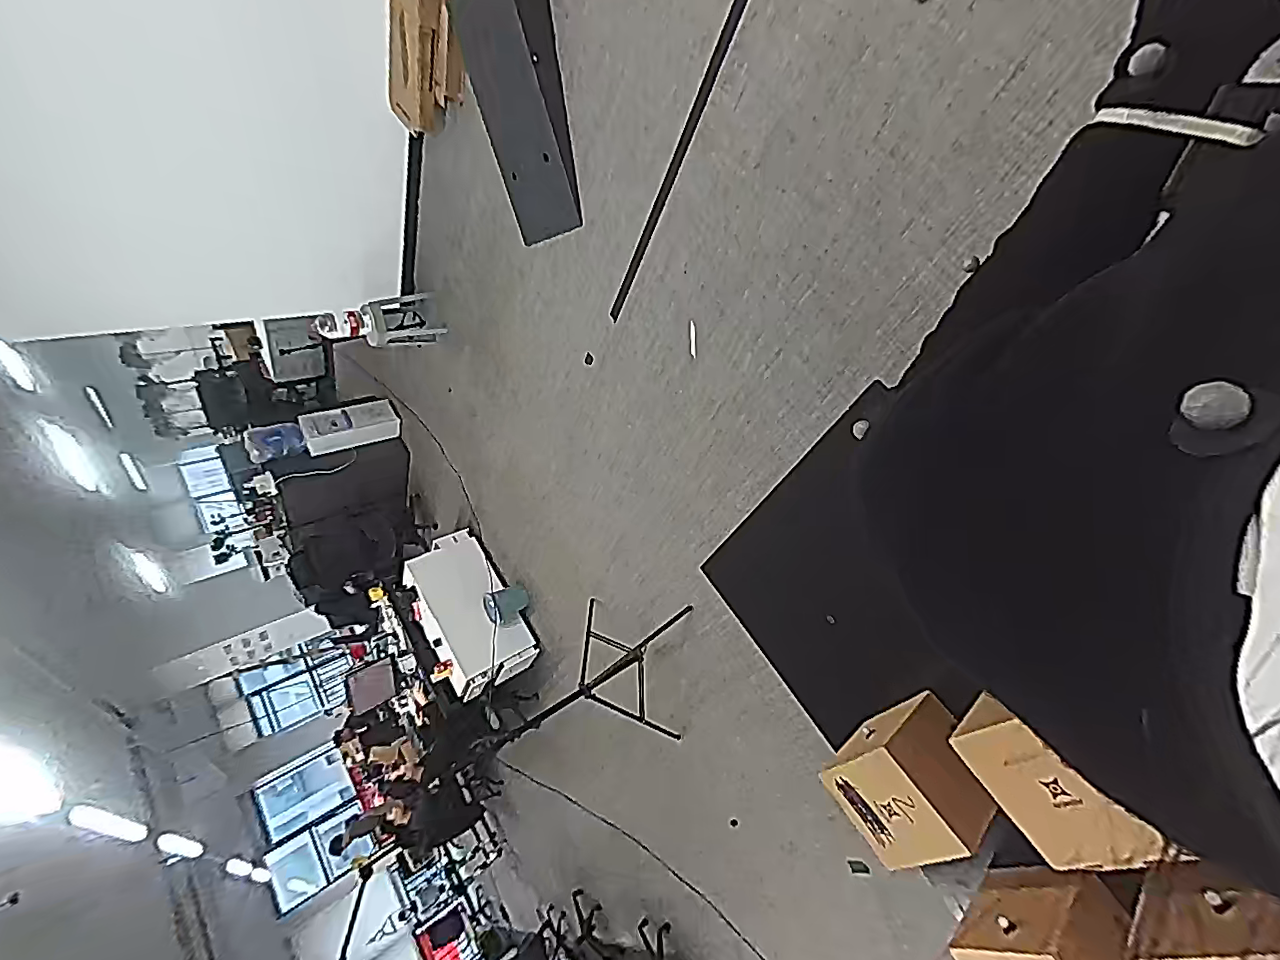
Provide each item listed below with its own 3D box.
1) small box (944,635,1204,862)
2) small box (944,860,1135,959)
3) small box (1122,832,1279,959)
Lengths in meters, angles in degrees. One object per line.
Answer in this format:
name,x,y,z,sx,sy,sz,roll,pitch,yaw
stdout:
small box,0.536,0.328,0.673,0.179,0.176,0.168,54,140,21
small box,0.592,0.682,0.774,0.168,0.176,0.179,55,141,19
small box,0.682,0.518,0.578,0.168,0.176,0.179,49,139,24
